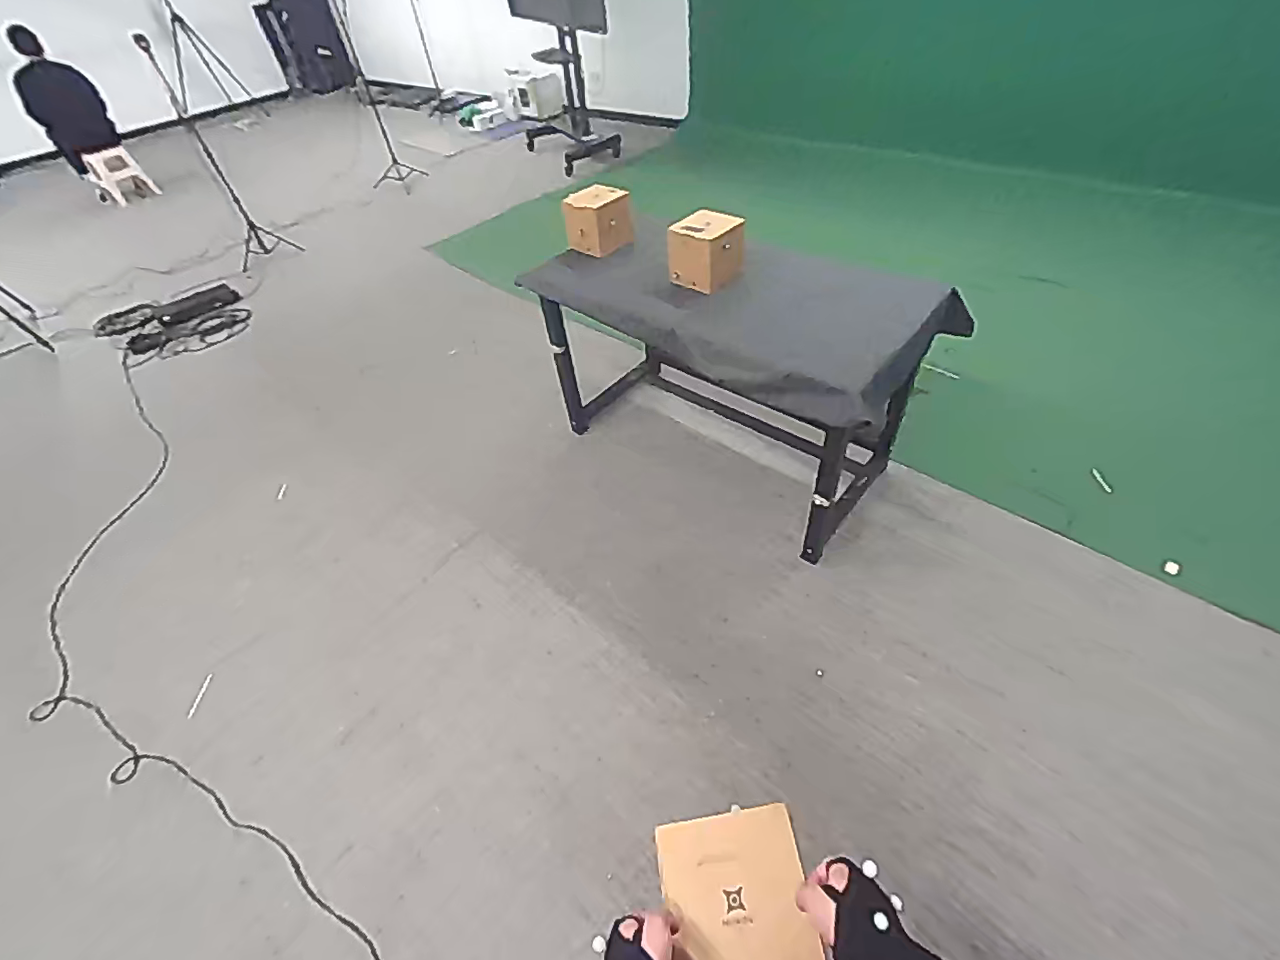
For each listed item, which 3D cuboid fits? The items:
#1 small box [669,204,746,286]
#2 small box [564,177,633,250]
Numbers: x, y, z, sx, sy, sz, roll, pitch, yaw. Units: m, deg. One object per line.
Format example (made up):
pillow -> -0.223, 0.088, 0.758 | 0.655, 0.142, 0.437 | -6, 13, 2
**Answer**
small box -> 0.210, -0.722, 1.664 | 0.168, 0.176, 0.179 | 32, 58, 31
small box -> -0.139, -0.935, 1.904 | 0.168, 0.176, 0.179 | 31, 59, 29
